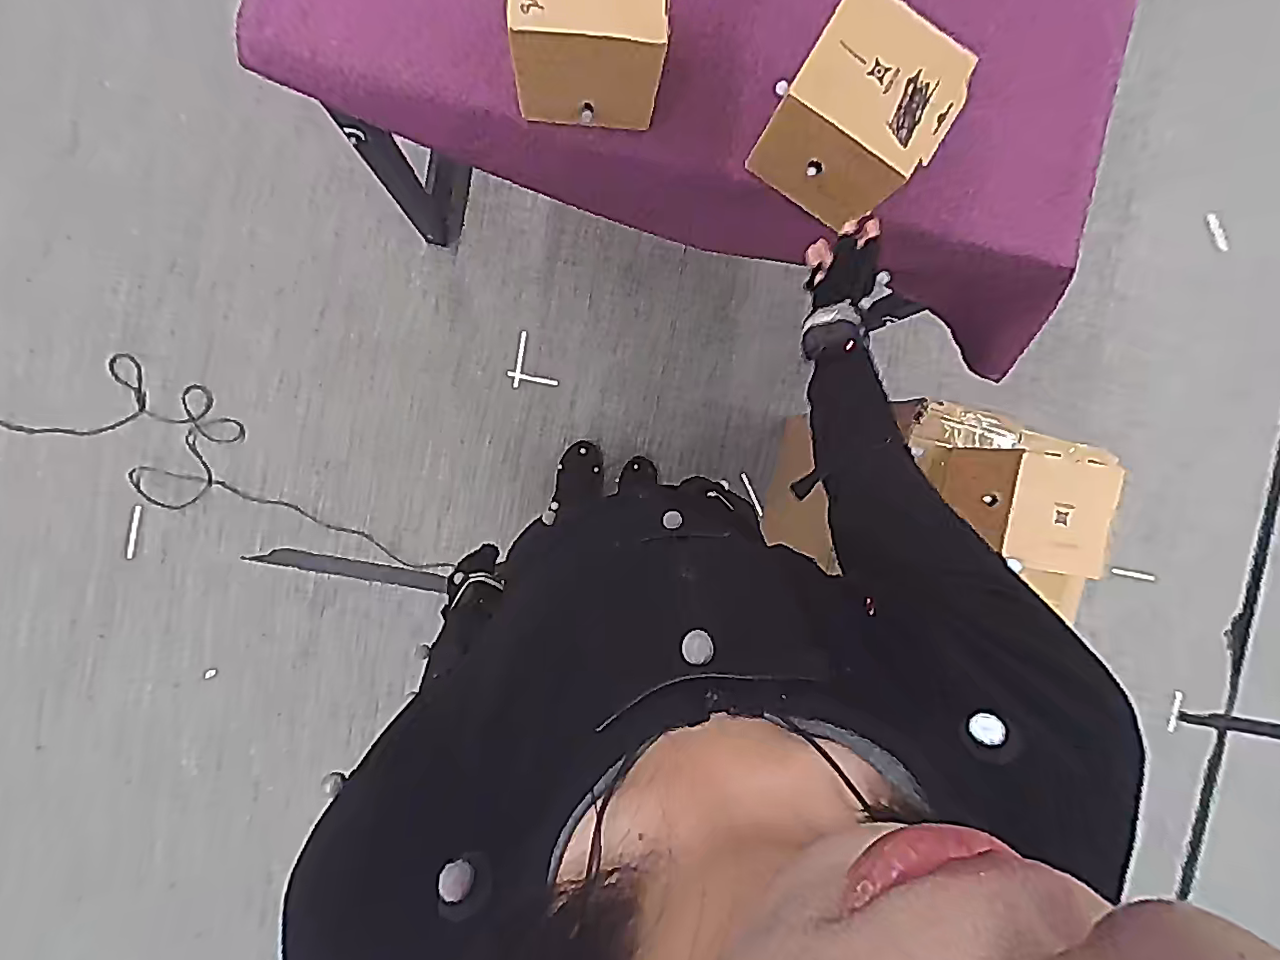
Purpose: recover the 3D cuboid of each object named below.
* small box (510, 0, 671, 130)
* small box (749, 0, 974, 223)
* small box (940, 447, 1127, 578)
[{"bbox_3d":[-0.063,-0.565,0.664,0.179,0.176,0.168,1,92,-7],"label":"small box"},{"bbox_3d":[0.273,-0.470,0.706,0.179,0.176,0.168,31,89,-6],"label":"small box"},{"bbox_3d":[0.621,0.044,0.876,0.168,0.176,0.179,9,94,-4],"label":"small box"}]
